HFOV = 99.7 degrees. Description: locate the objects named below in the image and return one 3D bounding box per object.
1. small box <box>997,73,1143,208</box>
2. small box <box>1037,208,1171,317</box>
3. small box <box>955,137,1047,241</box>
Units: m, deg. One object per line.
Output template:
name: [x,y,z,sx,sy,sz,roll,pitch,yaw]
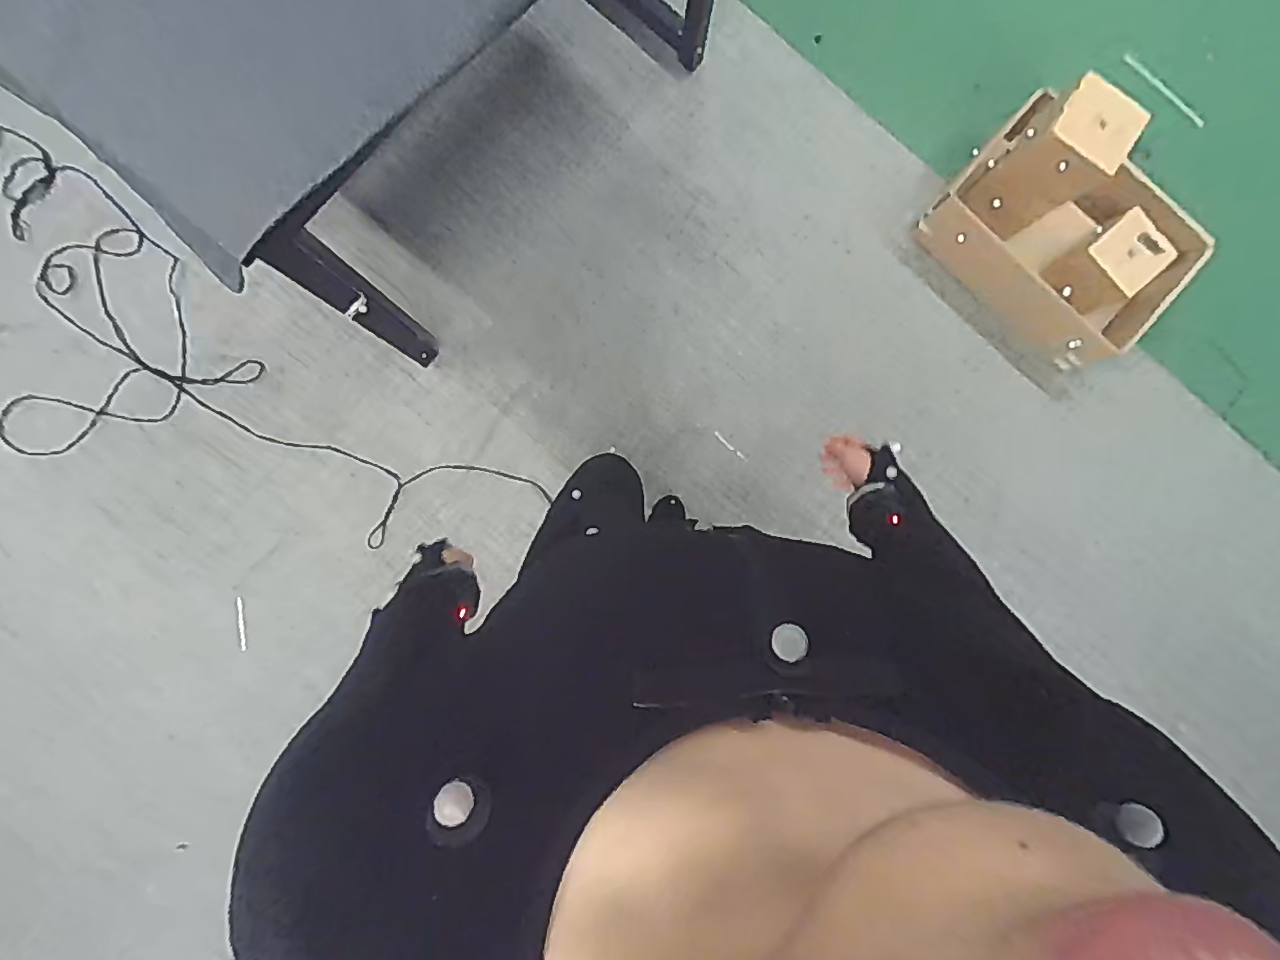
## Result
small box: [0.993,-0.780,1.266,0.179,0.176,0.168,33,89,-4]
small box: [1.221,-0.570,1.439,0.179,0.176,0.168,-41,90,-1]
small box: [0.988,-0.775,1.431,0.179,0.176,0.168,43,88,-1]
